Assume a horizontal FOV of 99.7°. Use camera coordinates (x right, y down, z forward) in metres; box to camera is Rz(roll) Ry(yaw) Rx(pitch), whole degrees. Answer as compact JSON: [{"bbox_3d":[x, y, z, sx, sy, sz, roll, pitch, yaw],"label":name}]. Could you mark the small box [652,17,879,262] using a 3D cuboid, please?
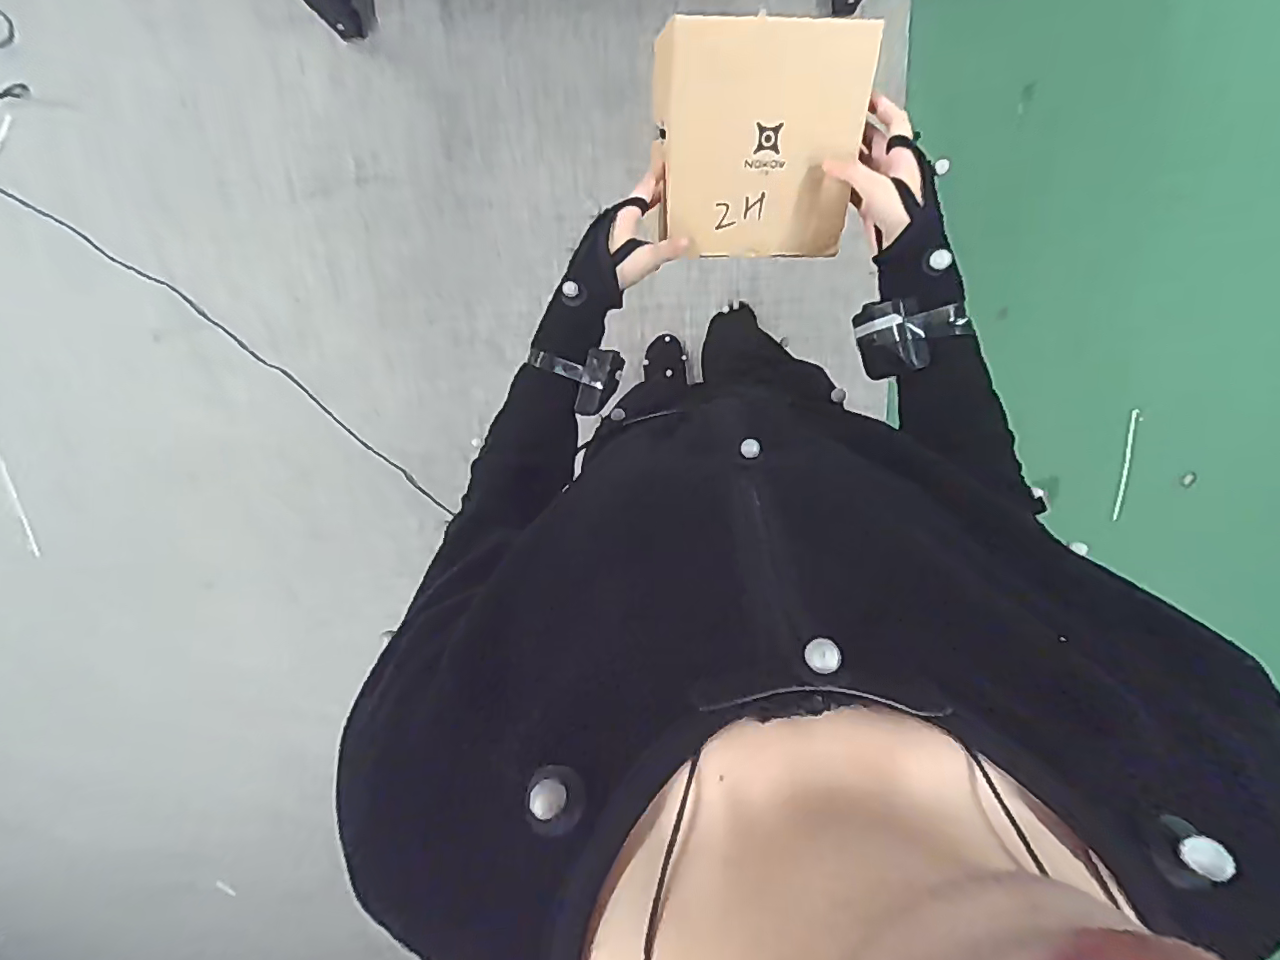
[{"bbox_3d":[0.100,-0.322,0.526,0.168,0.176,0.179,-1,124,-2],"label":"small box"}]
